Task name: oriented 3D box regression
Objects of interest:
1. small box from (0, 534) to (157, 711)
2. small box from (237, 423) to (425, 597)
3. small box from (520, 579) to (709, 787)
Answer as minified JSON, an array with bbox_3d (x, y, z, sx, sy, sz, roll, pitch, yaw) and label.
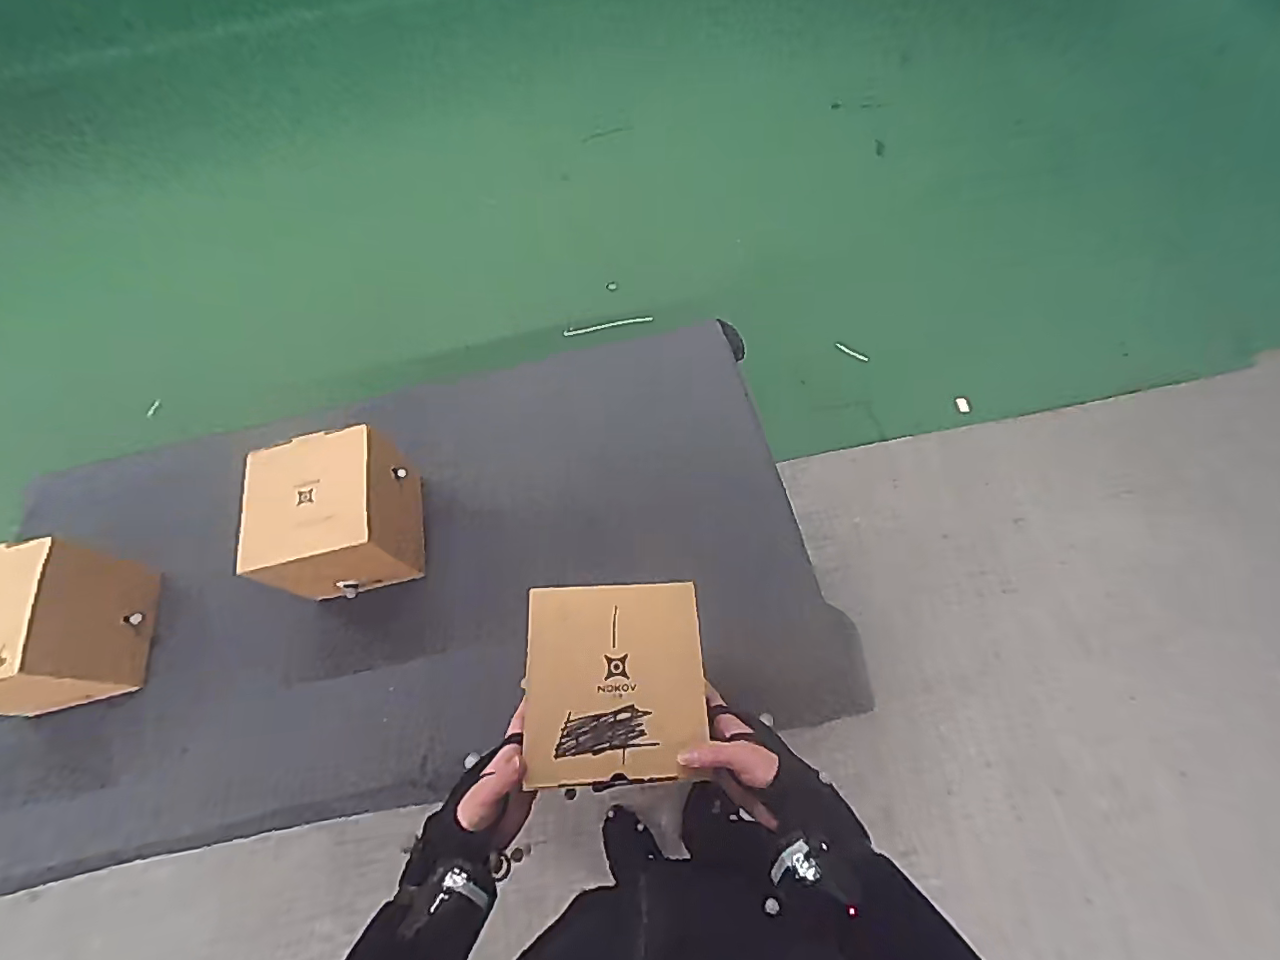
[{"bbox_3d":[-0.800,0.194,0.718,0.168,0.176,0.179,-13,65,-2],"label":"small box"},{"bbox_3d":[-0.421,0.048,0.762,0.168,0.176,0.179,-14,67,-1],"label":"small box"},{"bbox_3d":[-0.028,0.215,0.569,0.168,0.176,0.179,-1,62,-5],"label":"small box"}]
